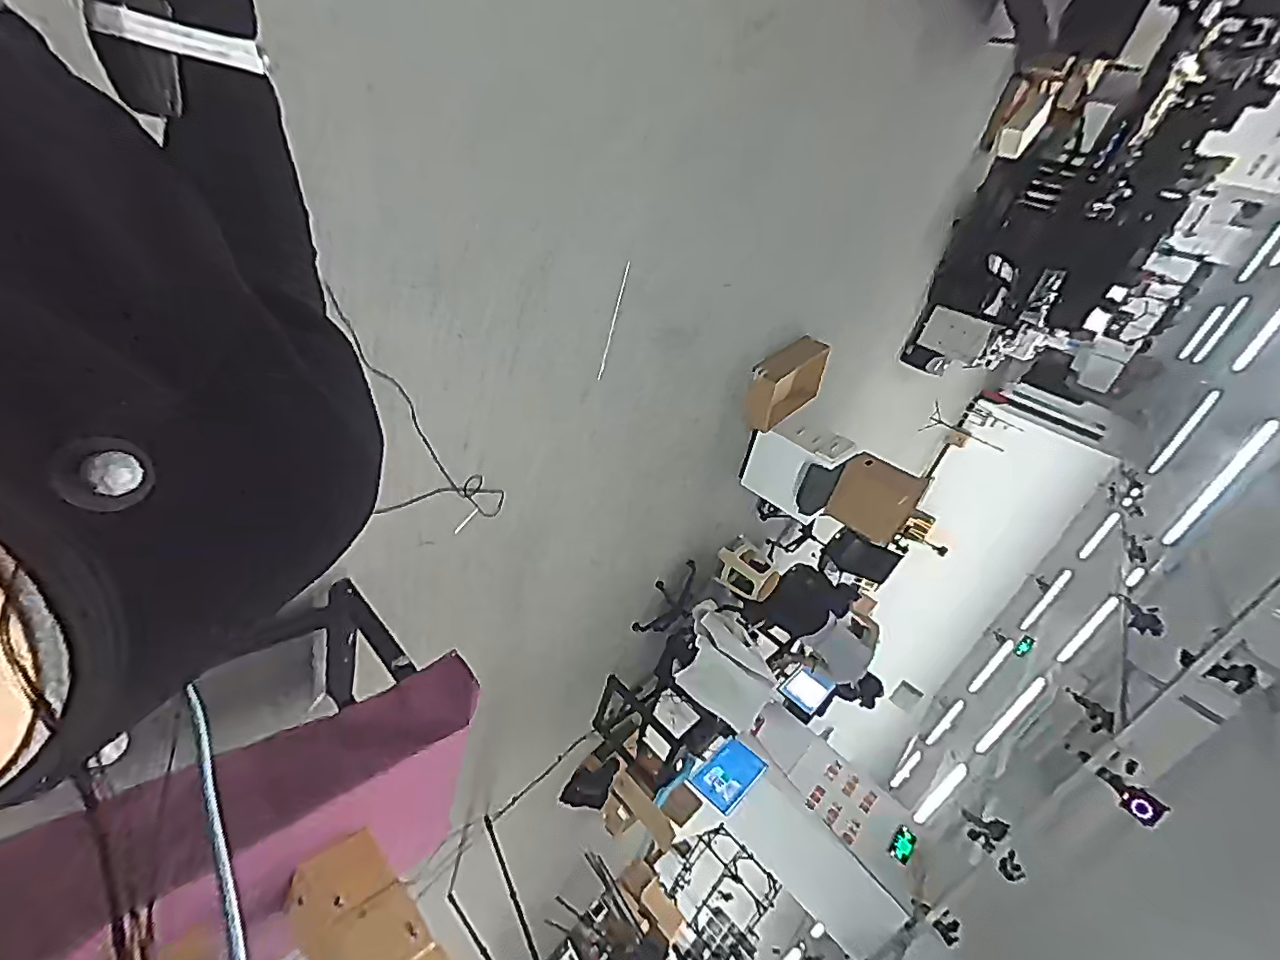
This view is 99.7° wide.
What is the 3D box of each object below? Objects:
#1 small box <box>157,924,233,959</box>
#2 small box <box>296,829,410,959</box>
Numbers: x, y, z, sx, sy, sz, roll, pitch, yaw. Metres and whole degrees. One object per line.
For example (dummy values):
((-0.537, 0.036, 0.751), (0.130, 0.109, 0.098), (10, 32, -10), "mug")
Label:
((-0.919, 1.059, 1.078), (0.179, 0.176, 0.168), (-13, 131, -49), "small box")
((-0.708, 1.014, 1.332), (0.179, 0.176, 0.168), (0, 119, -54), "small box")
